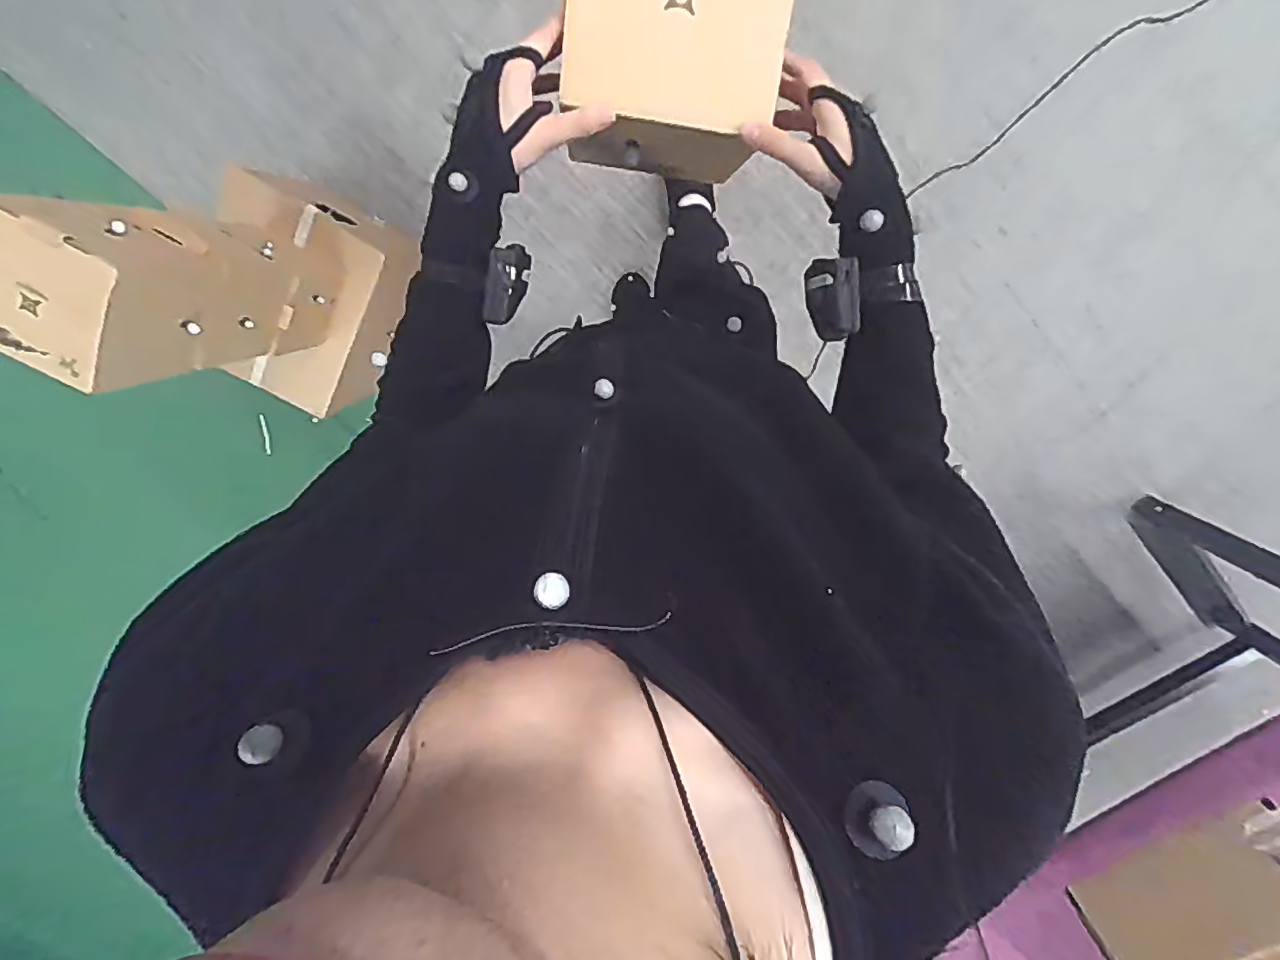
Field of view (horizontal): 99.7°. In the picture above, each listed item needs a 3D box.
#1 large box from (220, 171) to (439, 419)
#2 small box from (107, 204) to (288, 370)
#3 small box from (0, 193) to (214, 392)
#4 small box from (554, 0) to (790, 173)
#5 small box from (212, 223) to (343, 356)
[{"bbox_3d":[-0.725,-0.420,1.252,0.320,0.320,0.408,30,110,-8],"label":"large box"},{"bbox_3d":[-0.703,-0.304,0.859,0.168,0.176,0.179,29,109,-10],"label":"small box"},{"bbox_3d":[-0.710,-0.244,0.706,0.168,0.176,0.179,30,108,-9],"label":"small box"},{"bbox_3d":[0.024,-0.381,0.456,0.168,0.176,0.179,6,106,-5],"label":"small box"},{"bbox_3d":[-0.699,-0.359,1.013,0.179,0.176,0.168,30,109,-10],"label":"small box"}]
